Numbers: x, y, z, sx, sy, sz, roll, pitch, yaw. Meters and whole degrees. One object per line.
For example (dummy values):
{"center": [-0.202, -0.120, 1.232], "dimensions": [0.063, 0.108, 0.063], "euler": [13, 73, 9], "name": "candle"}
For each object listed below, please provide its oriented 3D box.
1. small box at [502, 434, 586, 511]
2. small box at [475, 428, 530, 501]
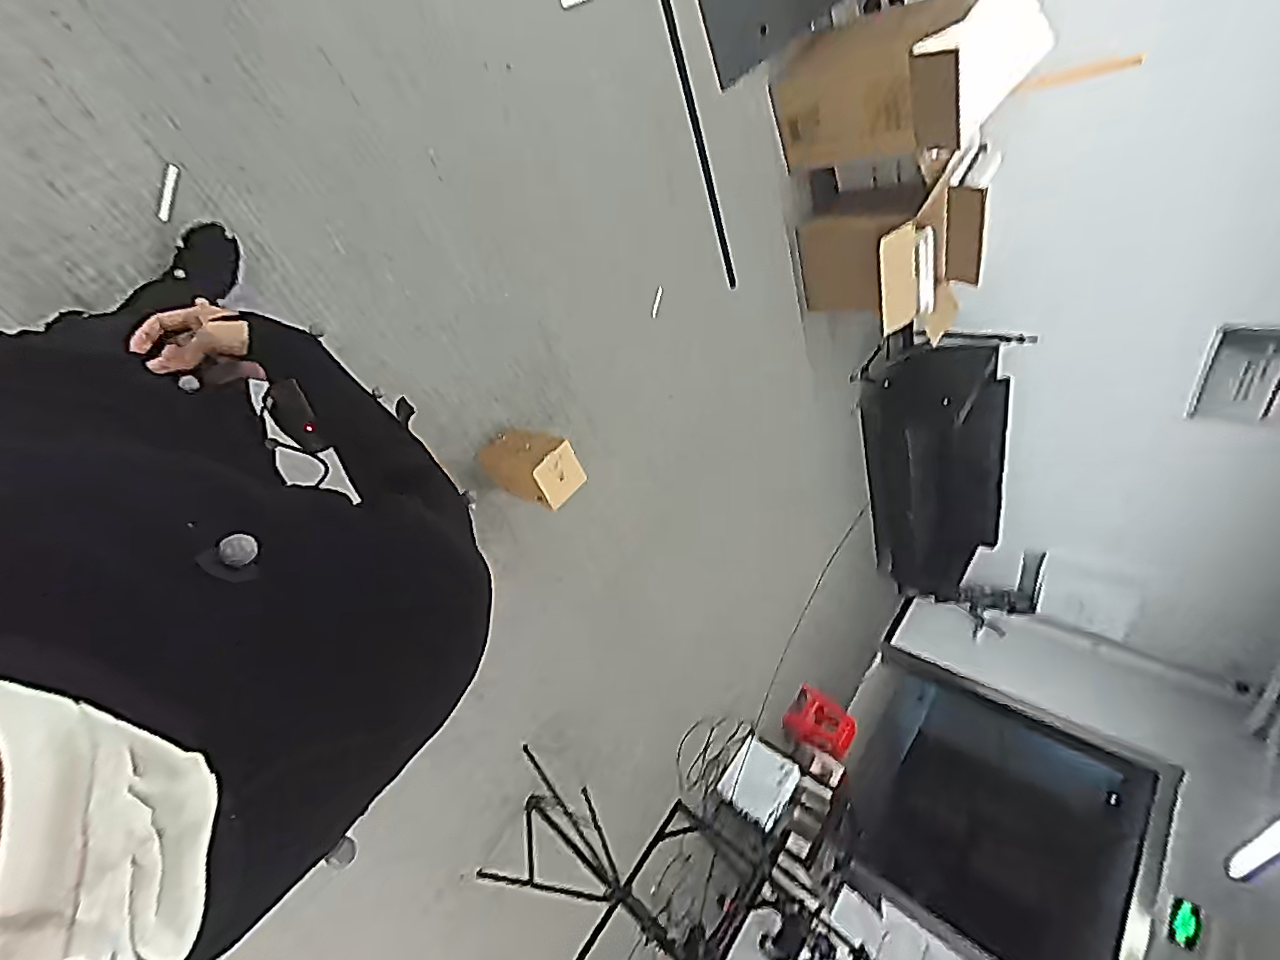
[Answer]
{"center": [-0.315, -0.029, 1.773], "dimensions": [0.168, 0.176, 0.179], "euler": [-47, 132, -28], "name": "small box"}
{"center": [-0.437, -0.058, 1.880], "dimensions": [0.168, 0.176, 0.179], "euler": [-46, 133, -28], "name": "small box"}
